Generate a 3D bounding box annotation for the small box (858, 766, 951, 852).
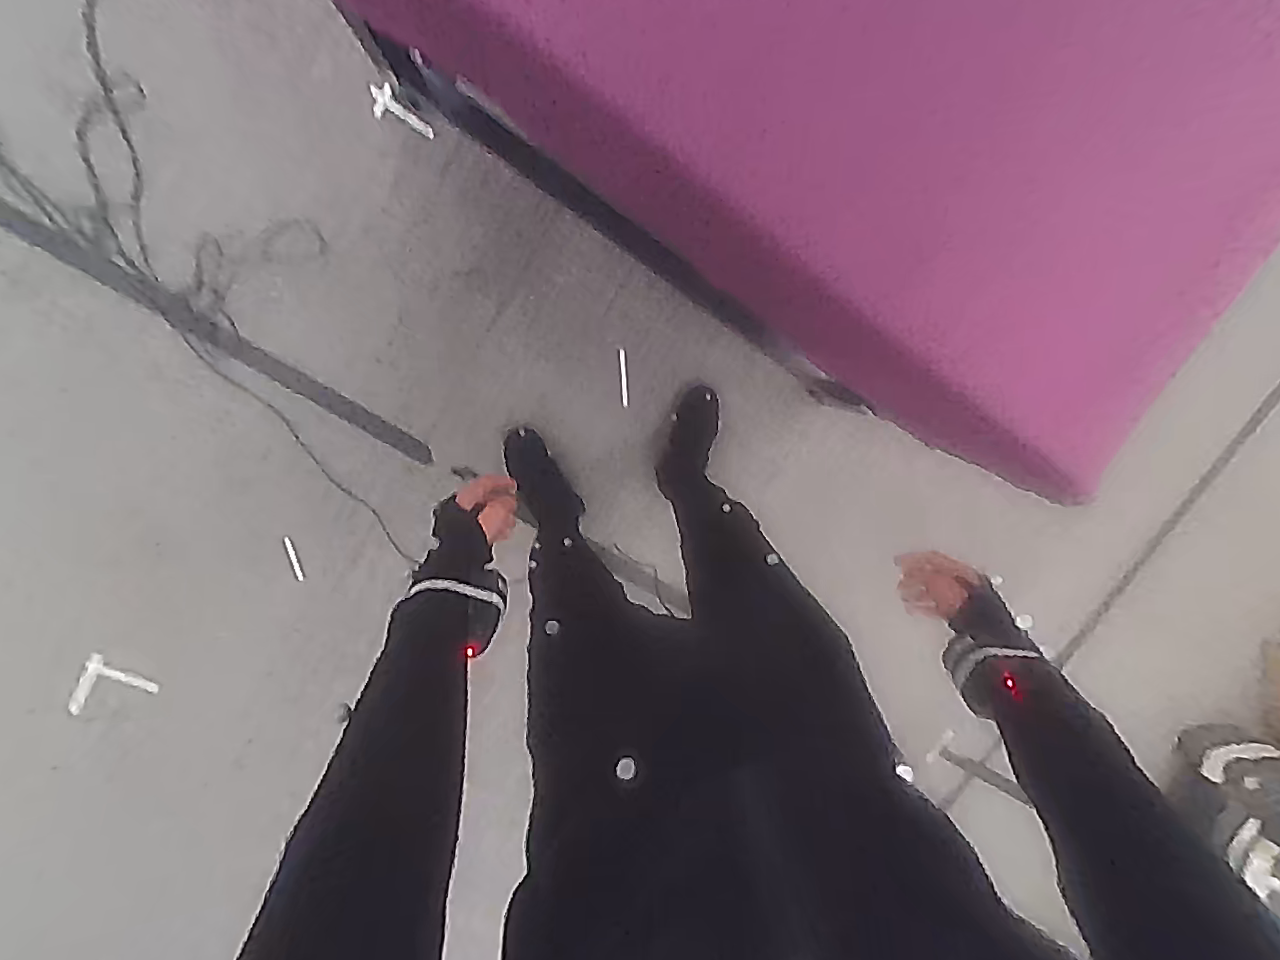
[{"bbox_3d":[0.823,1.053,1.707,0.168,0.176,0.179,29,99,-15],"label":"small box"}]
